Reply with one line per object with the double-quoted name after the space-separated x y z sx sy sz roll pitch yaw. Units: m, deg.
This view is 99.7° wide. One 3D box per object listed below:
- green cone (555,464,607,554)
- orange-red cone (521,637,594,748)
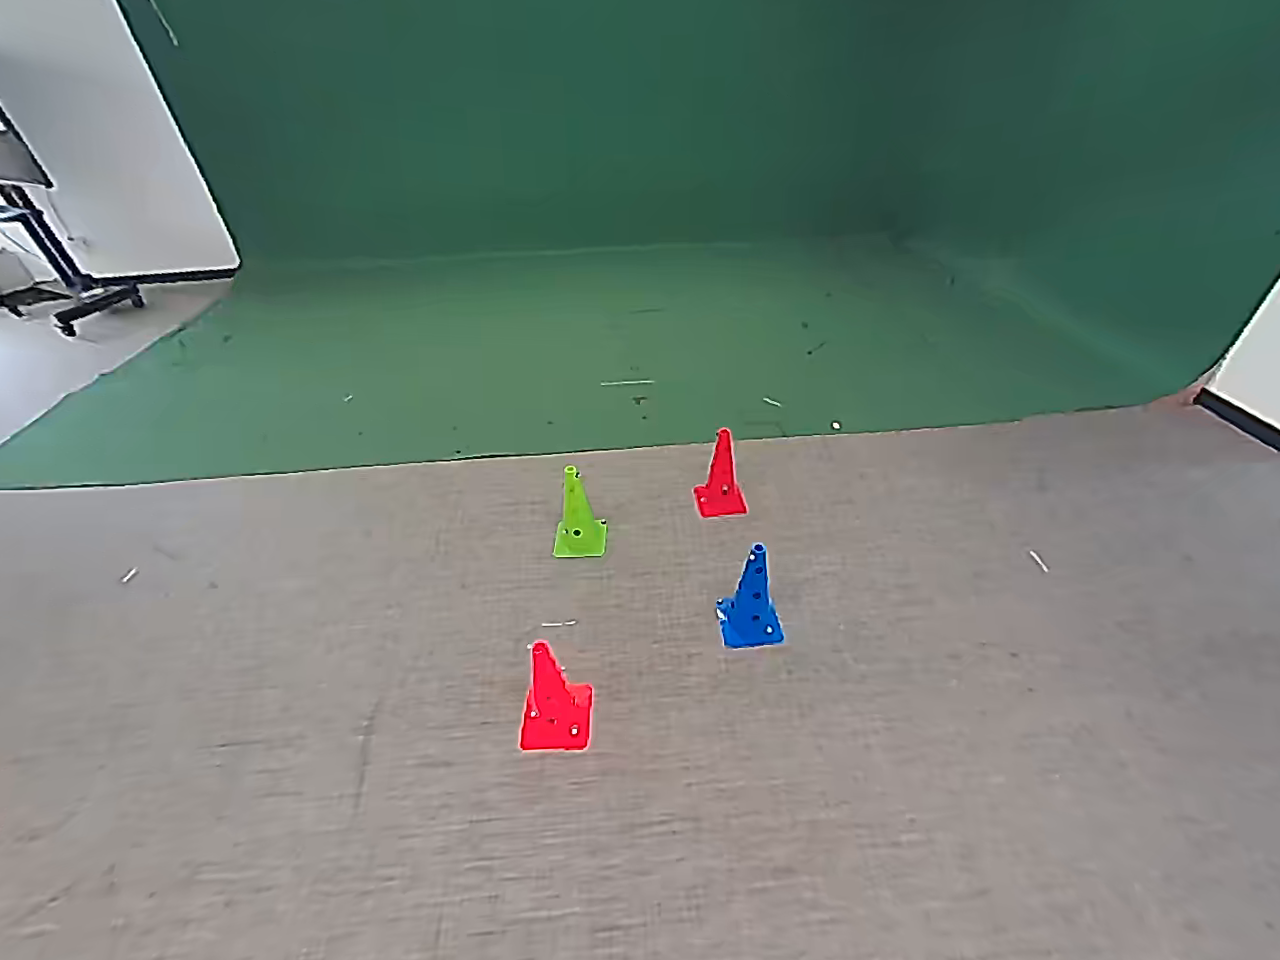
-0.243 0.088 2.052 0.200 0.368 0.202 -3 40 1 "green cone"
-0.243 0.552 1.486 0.198 0.360 0.199 0 38 2 "orange-red cone"
